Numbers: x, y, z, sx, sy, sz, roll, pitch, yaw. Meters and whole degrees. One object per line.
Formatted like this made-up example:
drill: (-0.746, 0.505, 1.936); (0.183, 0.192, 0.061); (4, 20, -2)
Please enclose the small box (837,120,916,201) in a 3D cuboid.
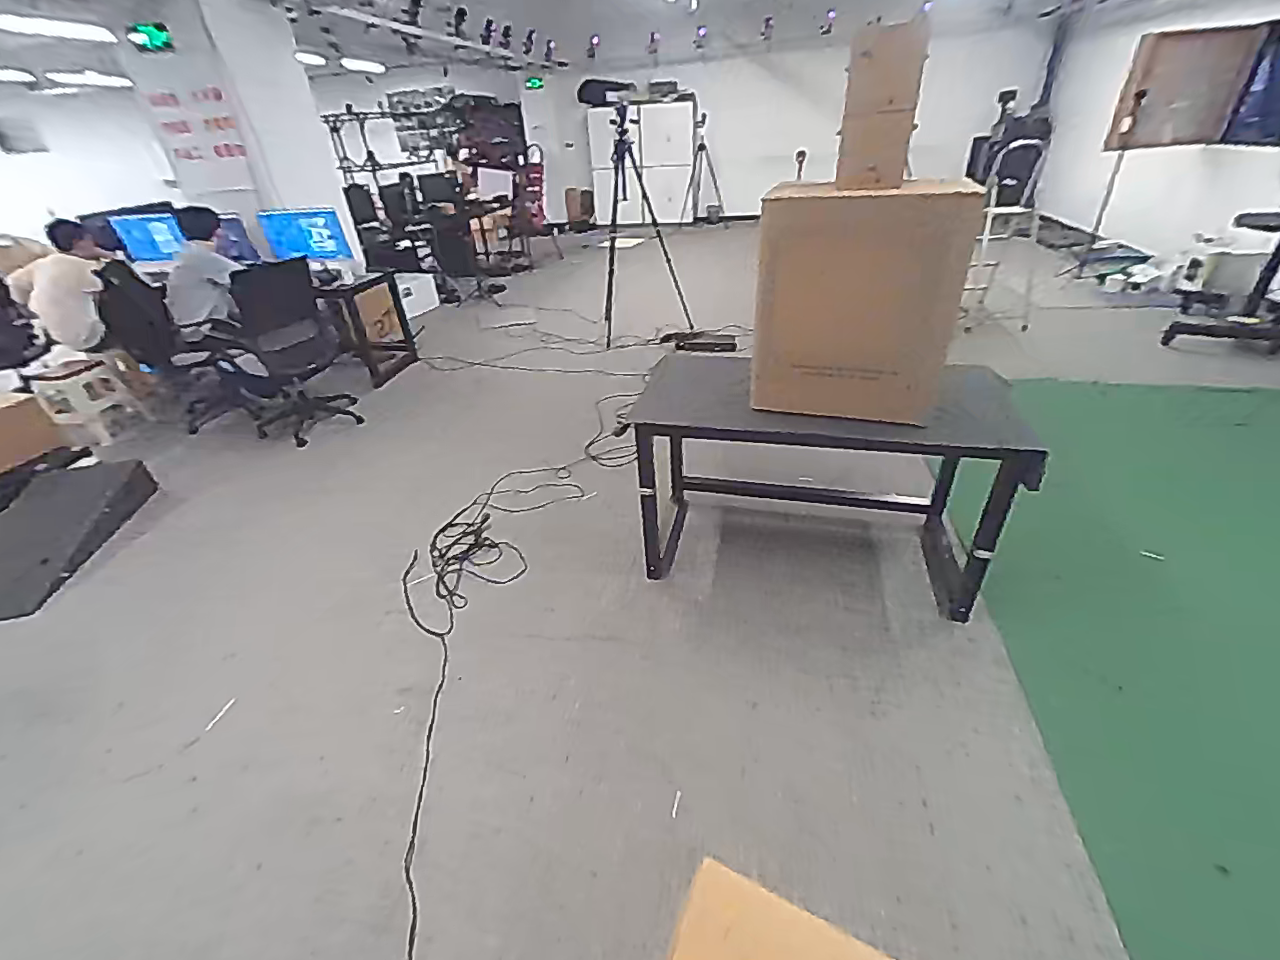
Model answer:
small box: (0.621, -0.847, 1.431); (0.168, 0.176, 0.179); (8, 37, 18)
